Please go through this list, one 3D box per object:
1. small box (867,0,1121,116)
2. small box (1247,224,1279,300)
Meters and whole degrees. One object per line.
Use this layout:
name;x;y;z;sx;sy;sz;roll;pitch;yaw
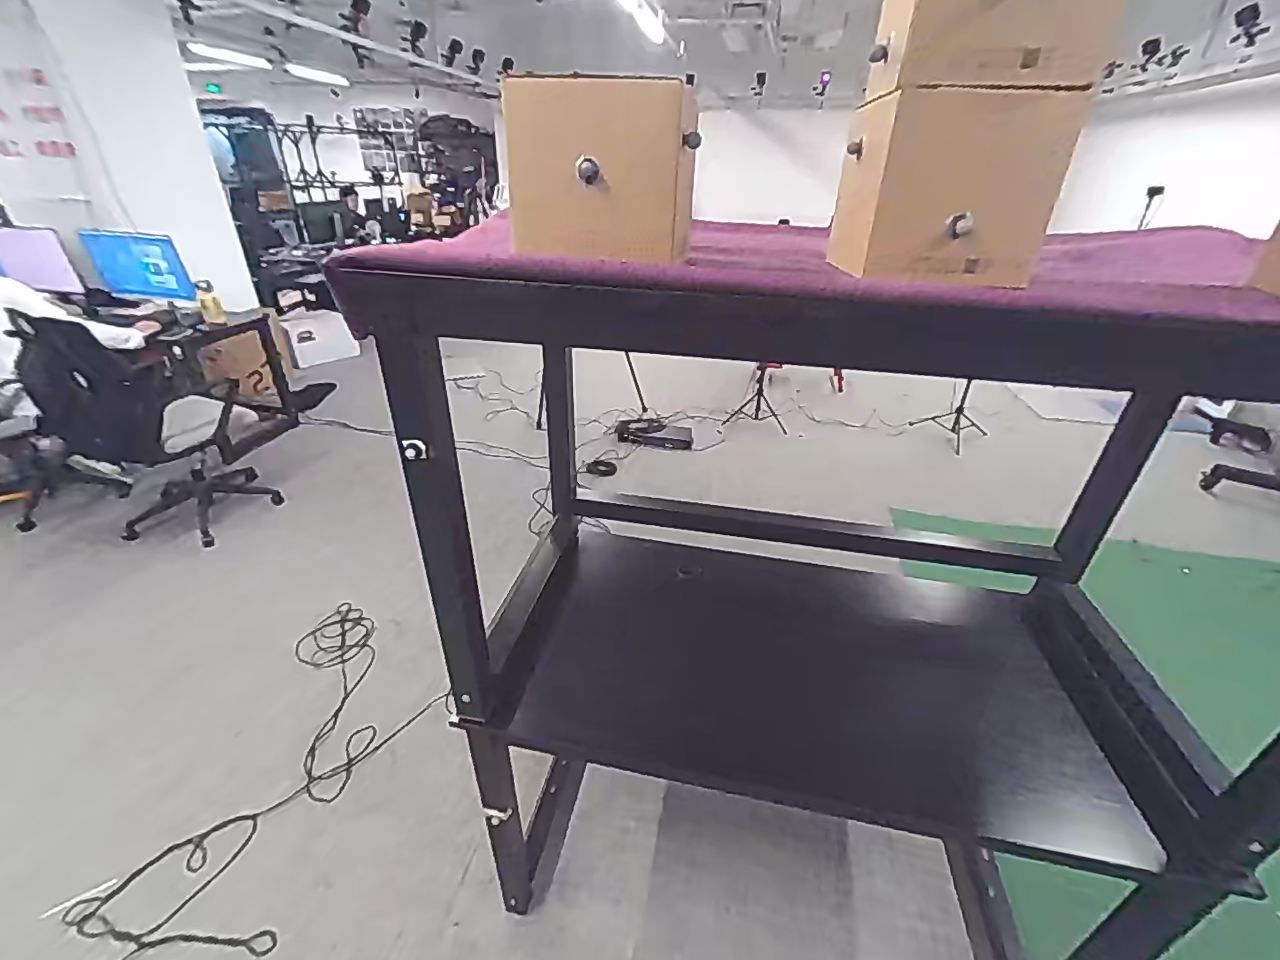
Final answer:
small box;0.329;-0.452;0.509;0.168;0.176;0.179;6;30;8
small box;0.717;-0.230;0.476;0.168;0.176;0.179;12;33;18
